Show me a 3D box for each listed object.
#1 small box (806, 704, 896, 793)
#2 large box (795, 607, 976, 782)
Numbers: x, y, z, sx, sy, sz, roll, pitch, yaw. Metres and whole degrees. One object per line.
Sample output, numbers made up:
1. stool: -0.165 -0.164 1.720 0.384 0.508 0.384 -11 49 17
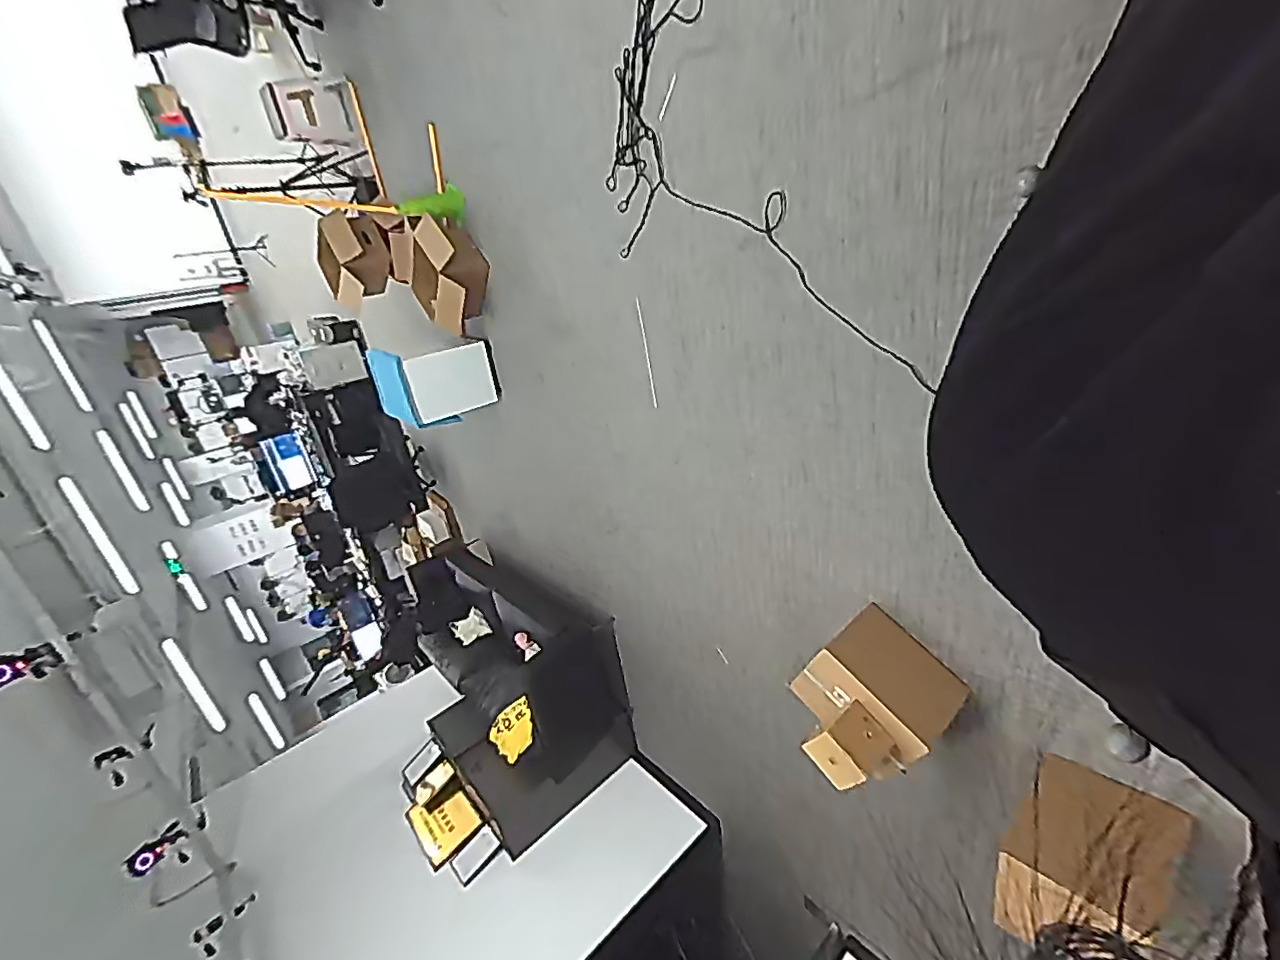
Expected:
1. small box: 0.669 0.846 1.706 0.168 0.176 0.179 48 144 24
2. large box: 0.826 0.724 1.853 0.408 0.320 0.320 46 142 28
